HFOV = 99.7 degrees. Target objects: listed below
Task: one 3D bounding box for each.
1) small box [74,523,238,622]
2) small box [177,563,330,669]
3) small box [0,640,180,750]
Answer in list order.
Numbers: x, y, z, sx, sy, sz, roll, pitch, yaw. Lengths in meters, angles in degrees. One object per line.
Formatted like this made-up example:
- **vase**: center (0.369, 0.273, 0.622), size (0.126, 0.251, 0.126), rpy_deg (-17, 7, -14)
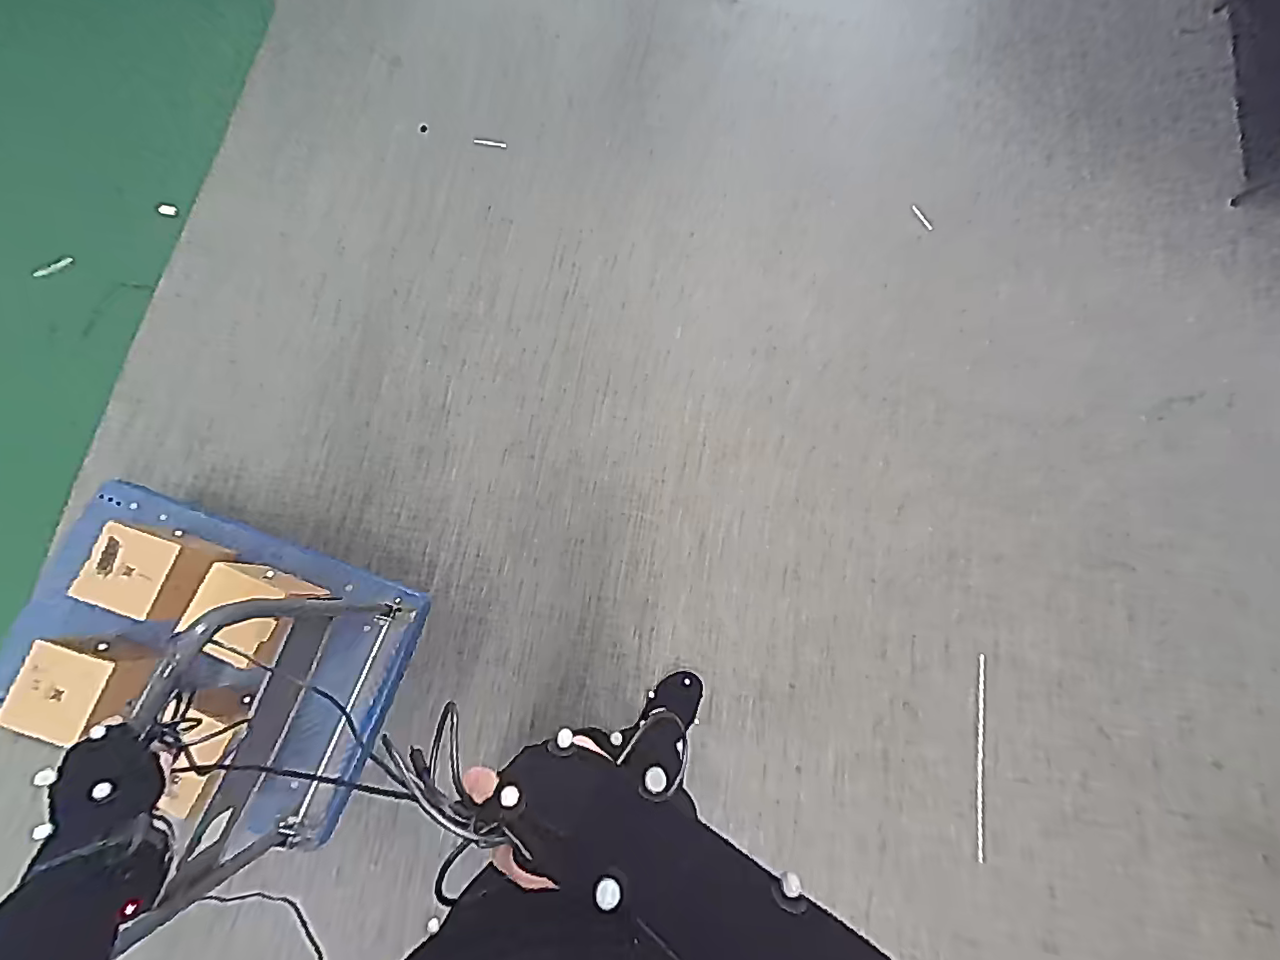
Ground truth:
- **small box**: center (-1.061, 0.209, 1.201), size (0.179, 0.176, 0.168), rpy_deg (17, 78, 3)
- **small box**: center (-0.832, 0.296, 1.184), size (0.179, 0.176, 0.168), rpy_deg (21, 78, 4)
- **small box**: center (-1.148, 0.444, 1.147), size (0.179, 0.176, 0.168), rpy_deg (16, 77, 4)
